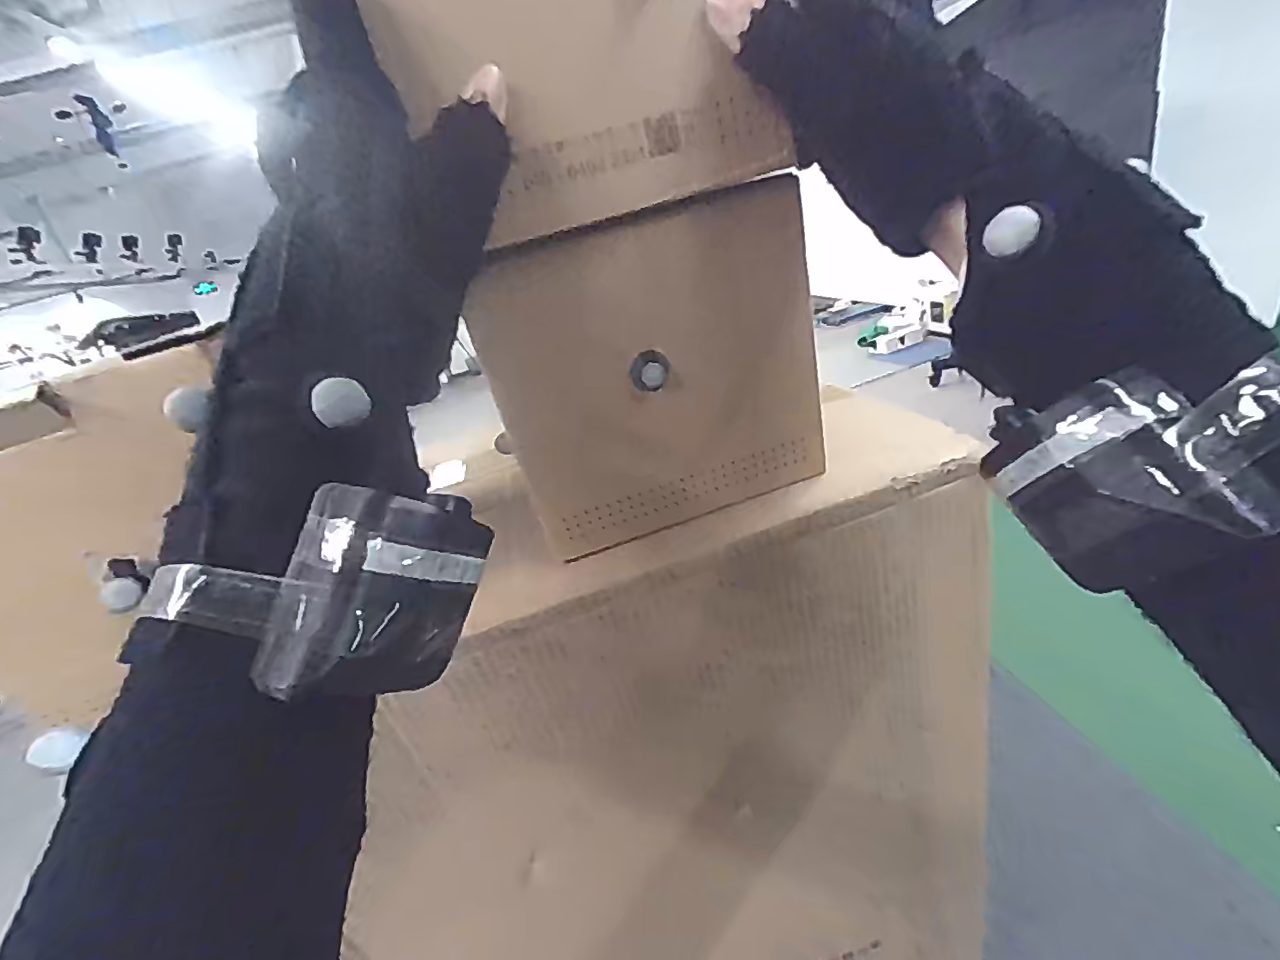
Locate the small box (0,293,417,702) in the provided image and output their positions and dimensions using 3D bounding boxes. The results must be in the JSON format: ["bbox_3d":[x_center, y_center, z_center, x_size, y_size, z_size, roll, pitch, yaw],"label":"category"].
[{"bbox_3d":[-0.256,0.004,0.326,0.168,0.176,0.179,-19,27,-5],"label":"small box"}]

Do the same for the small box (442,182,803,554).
[{"bbox_3d":[-0.006,-0.079,0.358,0.179,0.176,0.168,-18,26,-5],"label":"small box"}]
